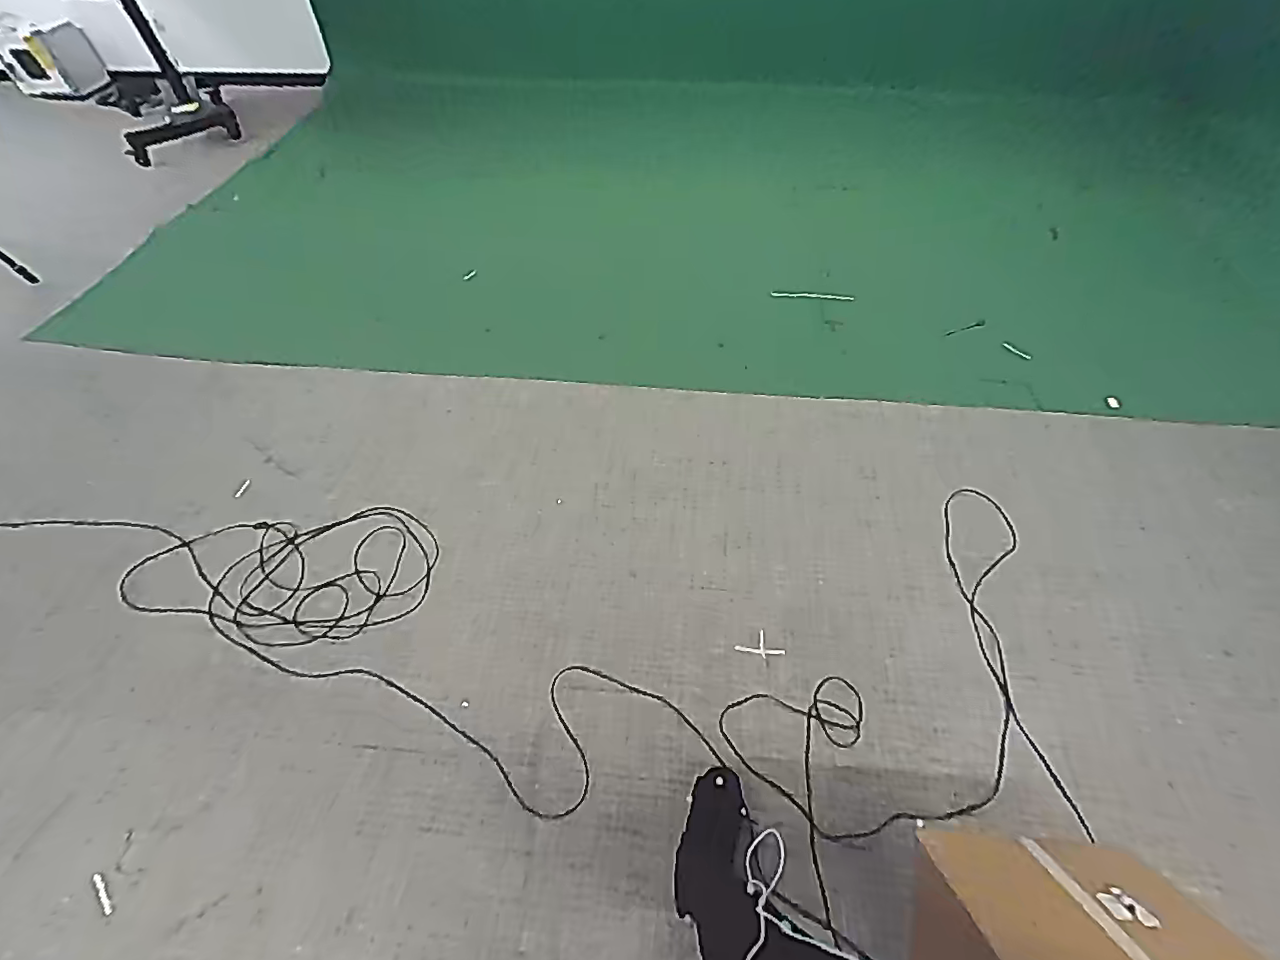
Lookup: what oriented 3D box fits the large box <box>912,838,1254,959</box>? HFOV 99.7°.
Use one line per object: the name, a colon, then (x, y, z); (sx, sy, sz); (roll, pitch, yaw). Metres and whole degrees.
large box: (0.555, 0.700, 0.623); (0.320, 0.408, 0.320); (2, 88, 4)
